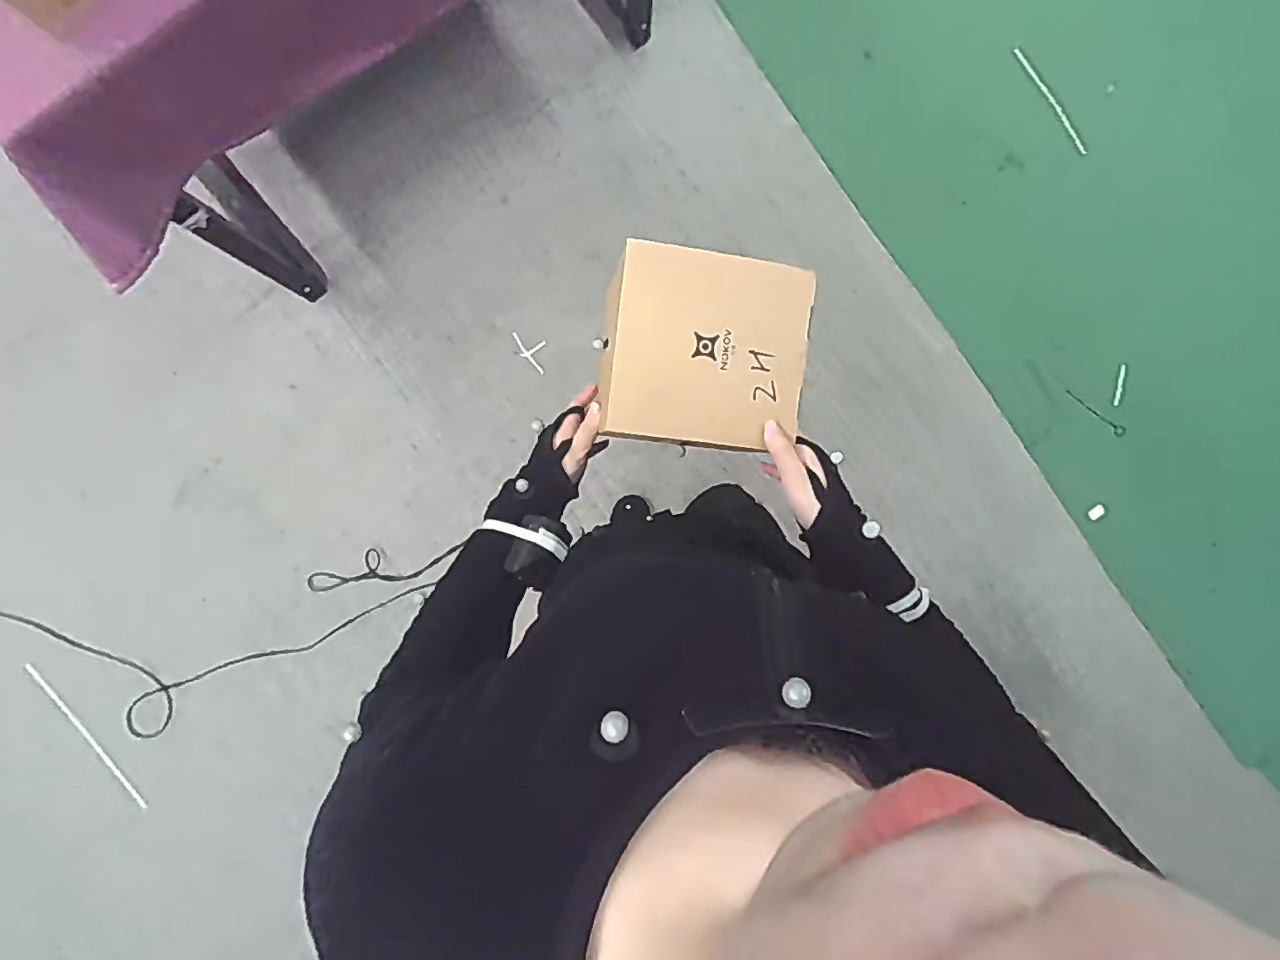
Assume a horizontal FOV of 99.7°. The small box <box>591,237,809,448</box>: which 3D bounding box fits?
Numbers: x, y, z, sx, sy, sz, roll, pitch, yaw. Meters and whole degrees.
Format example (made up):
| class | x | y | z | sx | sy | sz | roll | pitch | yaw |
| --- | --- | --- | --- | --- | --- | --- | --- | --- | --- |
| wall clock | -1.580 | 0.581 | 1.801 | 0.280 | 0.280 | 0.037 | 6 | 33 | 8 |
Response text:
| class | x | y | z | sx | sy | sz | roll | pitch | yaw |
| --- | --- | --- | --- | --- | --- | --- | --- | --- | --- |
| small box | 0.046 | -0.124 | 0.554 | 0.179 | 0.176 | 0.168 | 6 | 94 | -10 |
